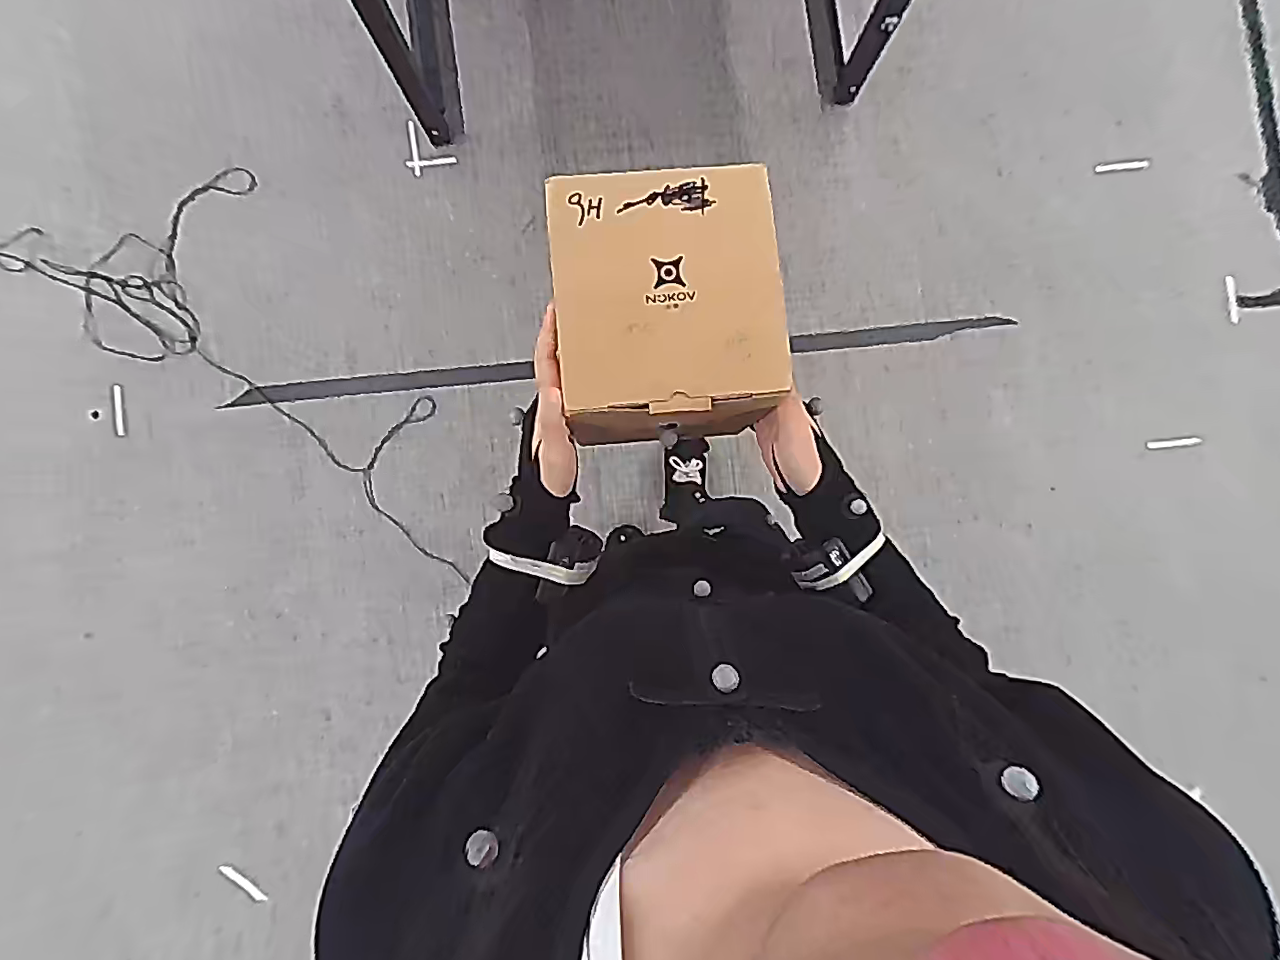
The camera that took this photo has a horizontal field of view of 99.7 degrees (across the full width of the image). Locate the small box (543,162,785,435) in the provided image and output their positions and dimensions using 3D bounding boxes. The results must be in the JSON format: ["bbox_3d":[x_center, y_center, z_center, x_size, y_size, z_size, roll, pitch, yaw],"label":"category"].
[{"bbox_3d":[0.014,-0.136,0.468,0.168,0.176,0.179,-5,86,-3],"label":"small box"}]
